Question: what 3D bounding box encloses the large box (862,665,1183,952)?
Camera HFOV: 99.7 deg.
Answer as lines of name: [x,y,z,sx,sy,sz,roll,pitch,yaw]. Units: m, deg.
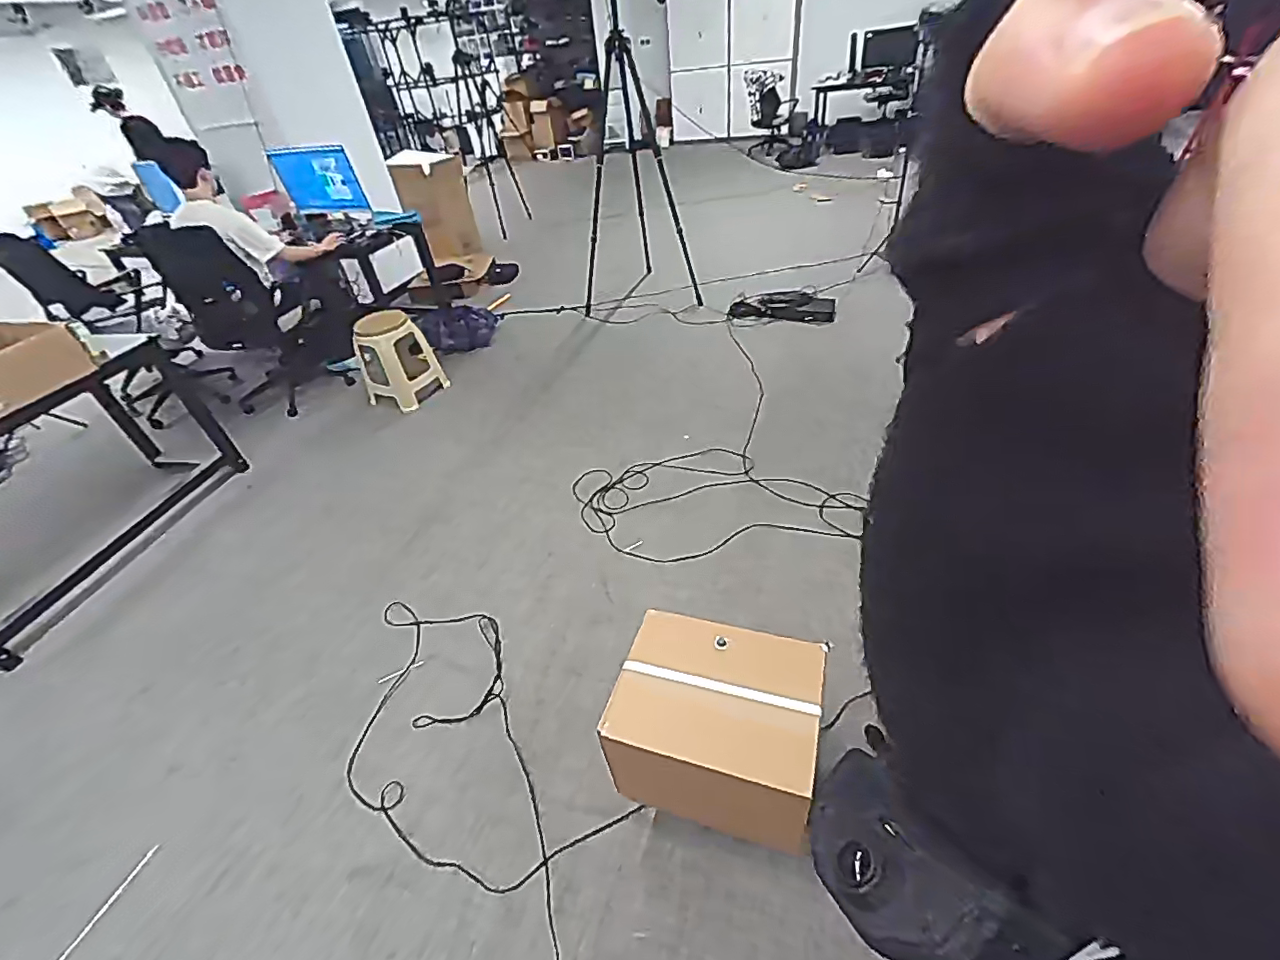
large box: [0.670,0.615,1.039,0.408,0.320,0.320,9,42,21]
